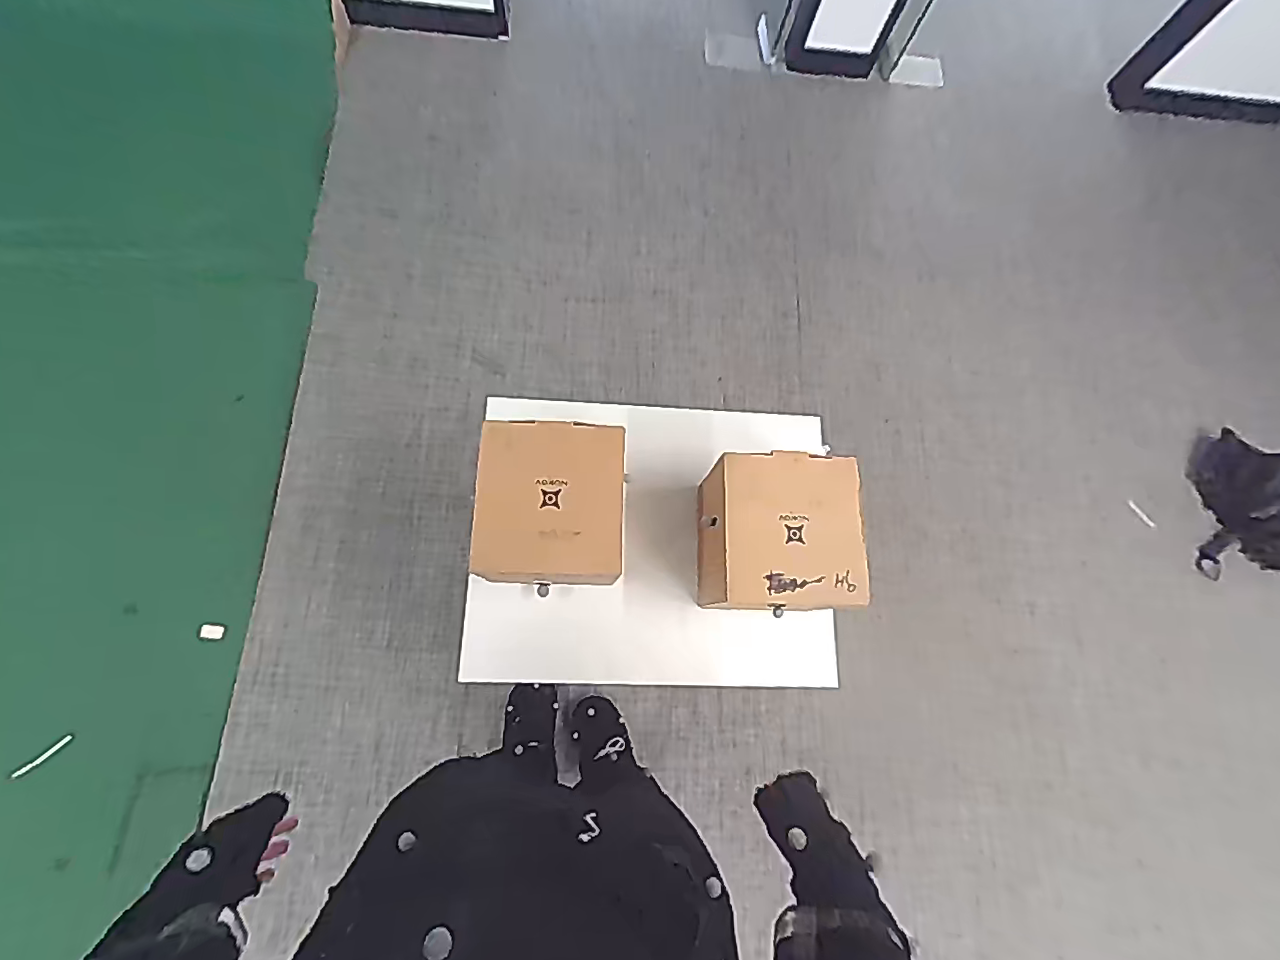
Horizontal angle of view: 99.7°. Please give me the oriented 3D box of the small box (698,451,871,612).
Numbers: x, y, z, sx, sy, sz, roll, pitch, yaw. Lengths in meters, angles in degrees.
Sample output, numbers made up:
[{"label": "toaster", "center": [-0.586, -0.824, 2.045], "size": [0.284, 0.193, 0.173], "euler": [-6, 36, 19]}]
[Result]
[{"label": "small box", "center": [0.170, 0.075, 0.696], "size": [0.168, 0.176, 0.179], "euler": [2, 74, -5]}]

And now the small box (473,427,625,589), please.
[{"label": "small box", "center": [-0.106, 0.044, 0.683], "size": [0.168, 0.176, 0.179], "euler": [0, 76, -5]}]
